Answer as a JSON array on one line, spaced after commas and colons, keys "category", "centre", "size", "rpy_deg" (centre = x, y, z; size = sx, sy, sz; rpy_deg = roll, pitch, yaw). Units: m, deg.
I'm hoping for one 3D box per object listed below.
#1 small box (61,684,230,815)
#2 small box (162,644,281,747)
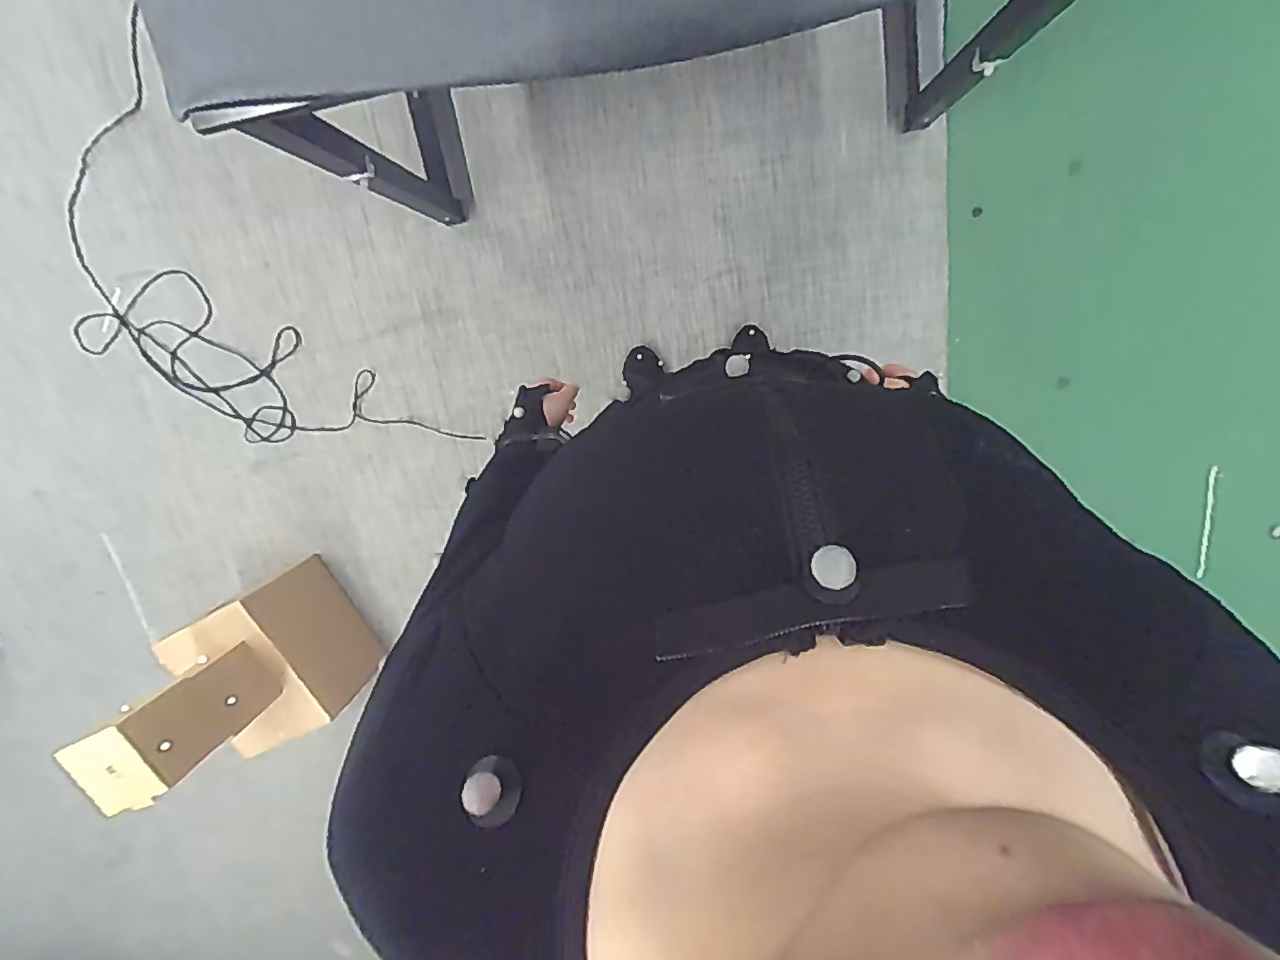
[{"category": "small box", "centre": [-1.060, 0.573, 1.176], "size": [0.168, 0.176, 0.179], "rpy_deg": [-25, 102, 9]}, {"category": "small box", "centre": [-1.045, 0.544, 1.336], "size": [0.168, 0.176, 0.179], "rpy_deg": [-26, 101, 9]}]
